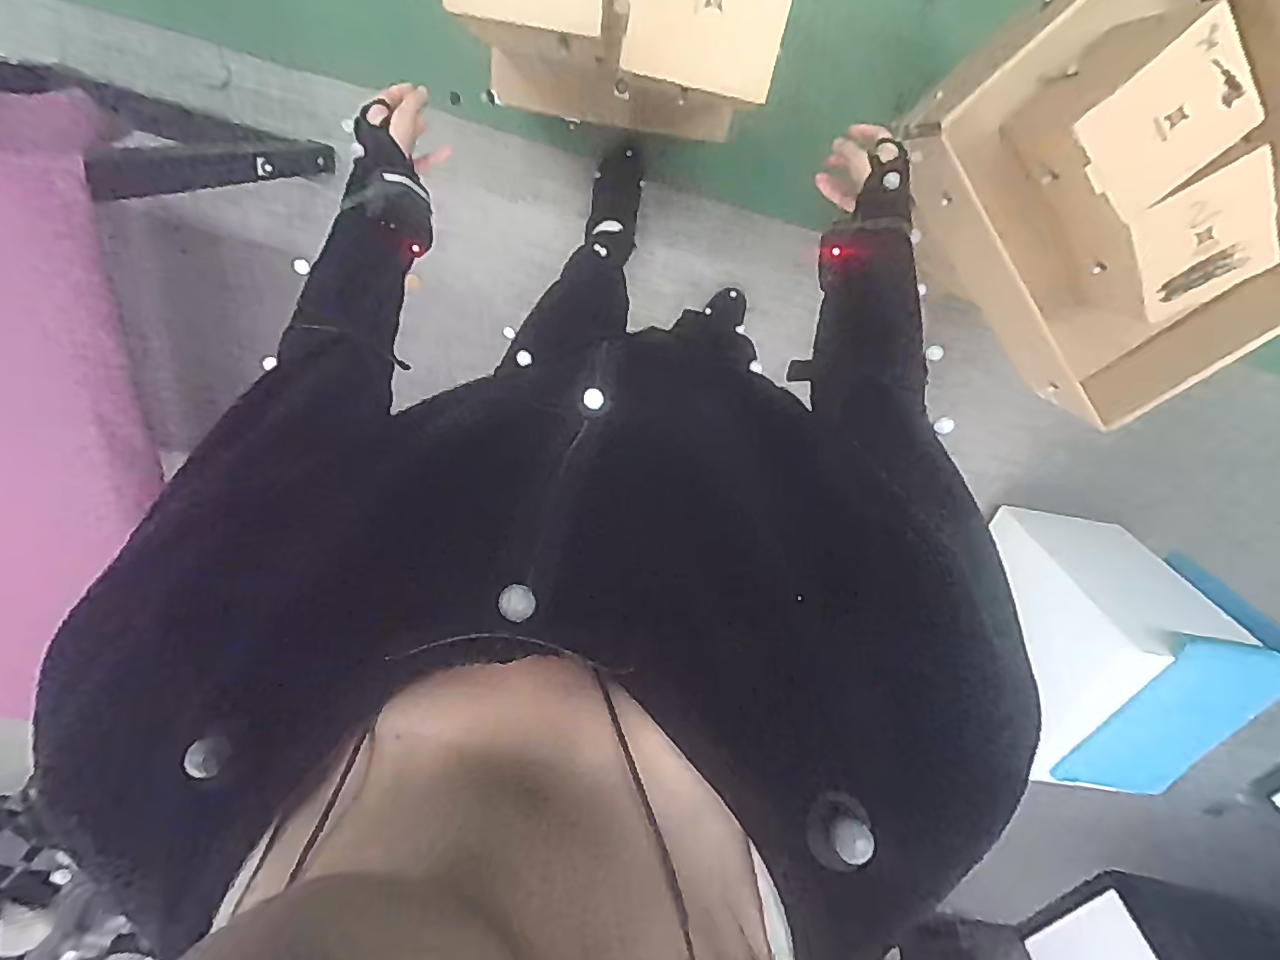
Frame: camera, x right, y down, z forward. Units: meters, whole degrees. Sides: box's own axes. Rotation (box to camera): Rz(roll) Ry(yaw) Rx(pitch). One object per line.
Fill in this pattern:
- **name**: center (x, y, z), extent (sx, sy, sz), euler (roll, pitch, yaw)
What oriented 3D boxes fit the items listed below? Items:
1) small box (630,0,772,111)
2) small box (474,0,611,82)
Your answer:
- **small box**: center (0.084, -0.650, 0.786), extent (0.179, 0.176, 0.168), euler (7, 122, -3)
- **small box**: center (-0.130, -0.693, 0.766), extent (0.168, 0.176, 0.179), euler (8, 122, -4)
